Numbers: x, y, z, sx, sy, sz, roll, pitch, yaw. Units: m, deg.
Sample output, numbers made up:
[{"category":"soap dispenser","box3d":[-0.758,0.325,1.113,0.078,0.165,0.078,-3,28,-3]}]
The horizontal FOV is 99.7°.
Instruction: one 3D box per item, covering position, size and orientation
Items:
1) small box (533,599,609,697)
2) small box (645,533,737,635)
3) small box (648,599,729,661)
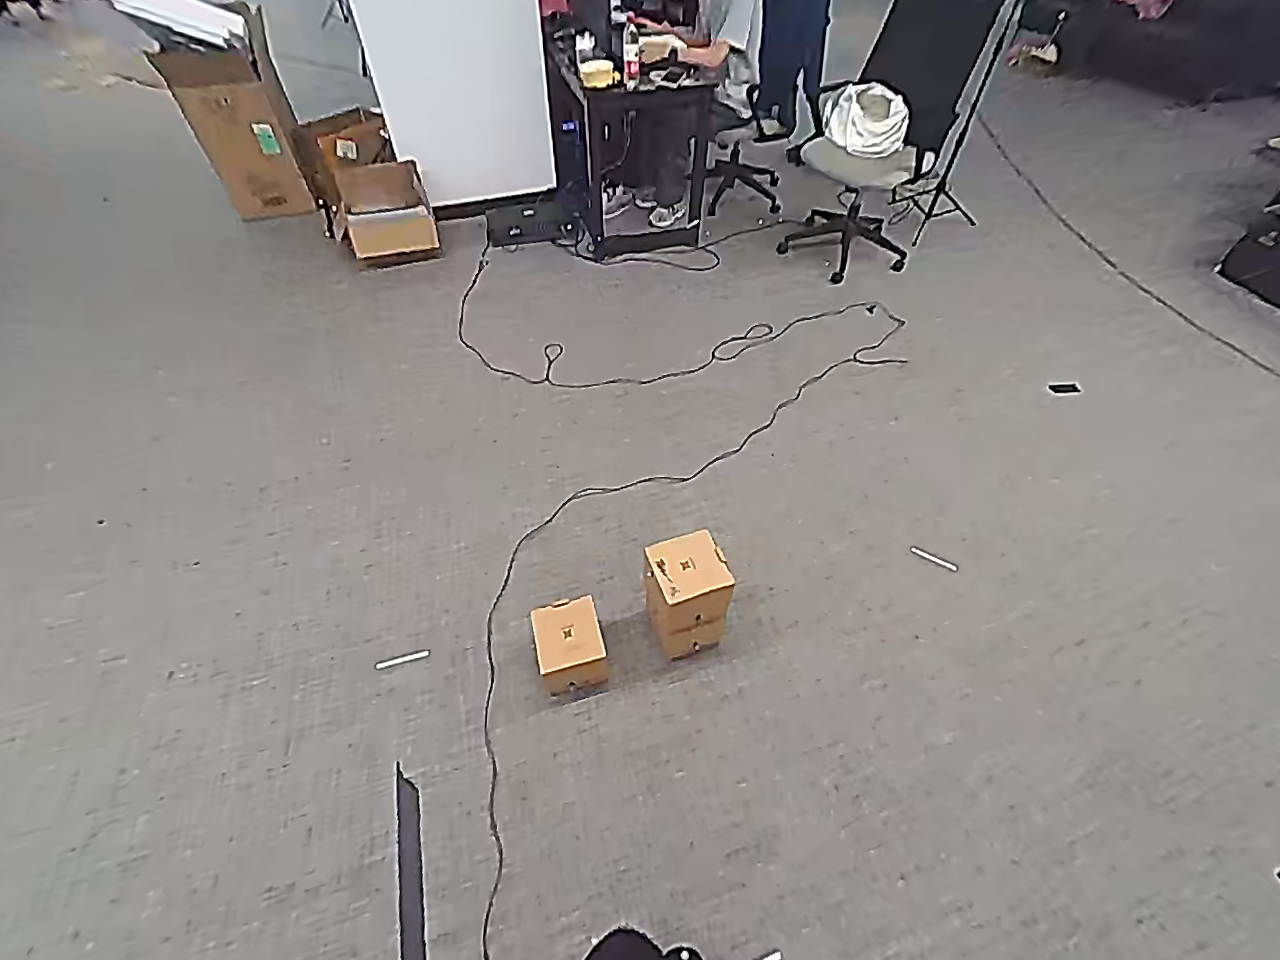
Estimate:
[{"category":"small box","box3d":[-0.180,0.445,1.428,0.168,0.176,0.179,-13,53,-9]},{"category":"small box","box3d":[0.119,0.265,1.362,0.179,0.176,0.168,-15,52,-13]},{"category":"small box","box3d":[0.125,0.368,1.490,0.168,0.176,0.179,-15,53,-12]}]
